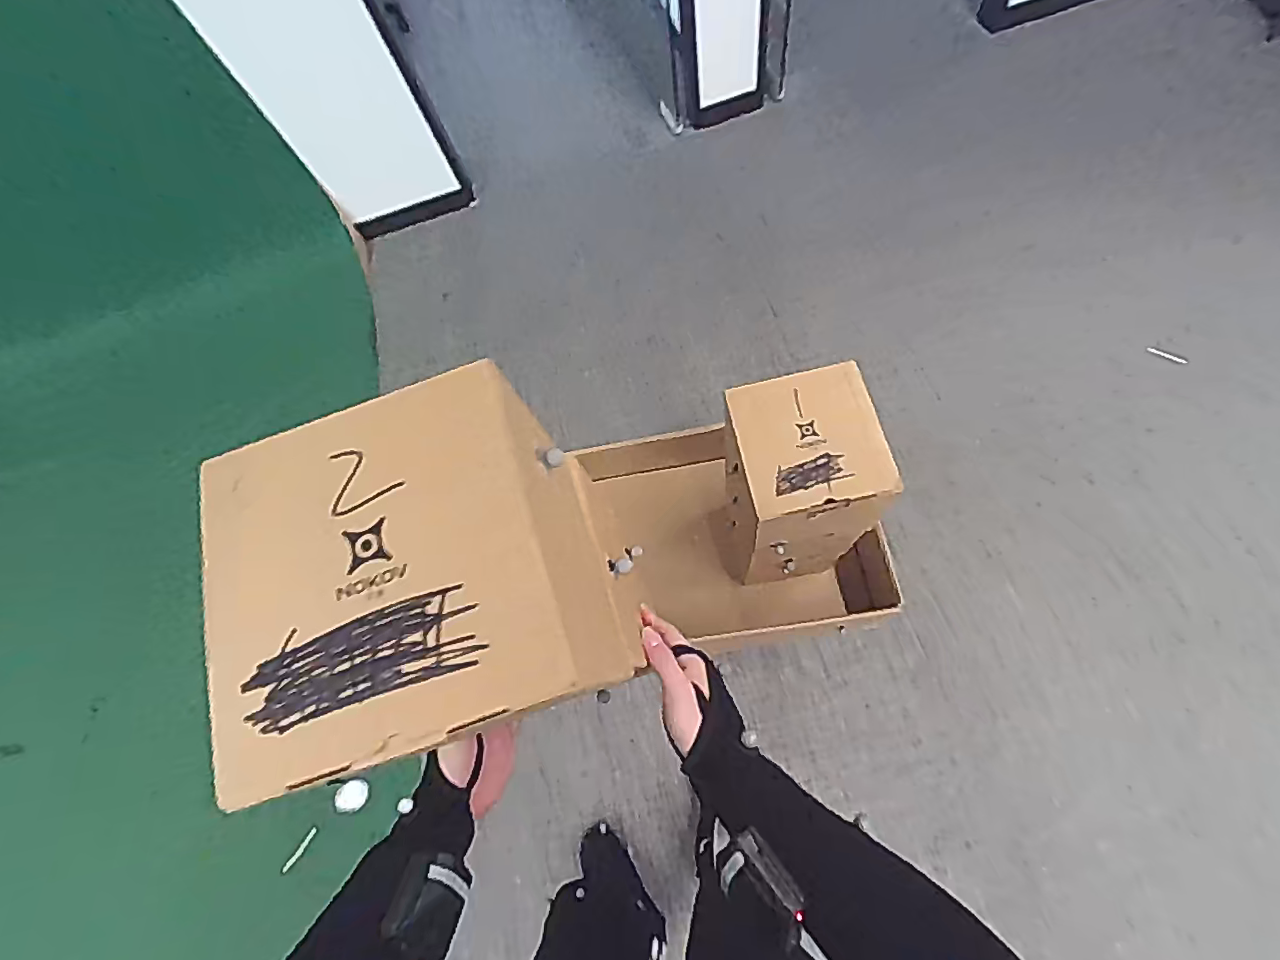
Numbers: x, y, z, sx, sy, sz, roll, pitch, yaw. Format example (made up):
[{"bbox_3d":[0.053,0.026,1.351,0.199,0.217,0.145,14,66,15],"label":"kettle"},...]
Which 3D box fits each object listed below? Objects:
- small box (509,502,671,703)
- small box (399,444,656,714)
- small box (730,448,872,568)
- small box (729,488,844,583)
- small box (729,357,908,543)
[{"bbox_3d":[-0.067,0.149,0.641,0.168,0.176,0.179,-18,71,2],"label":"small box"},{"bbox_3d":[-0.090,0.095,0.490,0.168,0.176,0.179,-17,71,1],"label":"small box"},{"bbox_3d":[0.239,0.028,0.854,0.168,0.176,0.179,-12,69,5],"label":"small box"},{"bbox_3d":[0.262,0.080,1.006,0.168,0.176,0.179,-12,67,5],"label":"small box"},{"bbox_3d":[0.216,-0.026,0.701,0.168,0.176,0.179,-12,67,5],"label":"small box"}]
